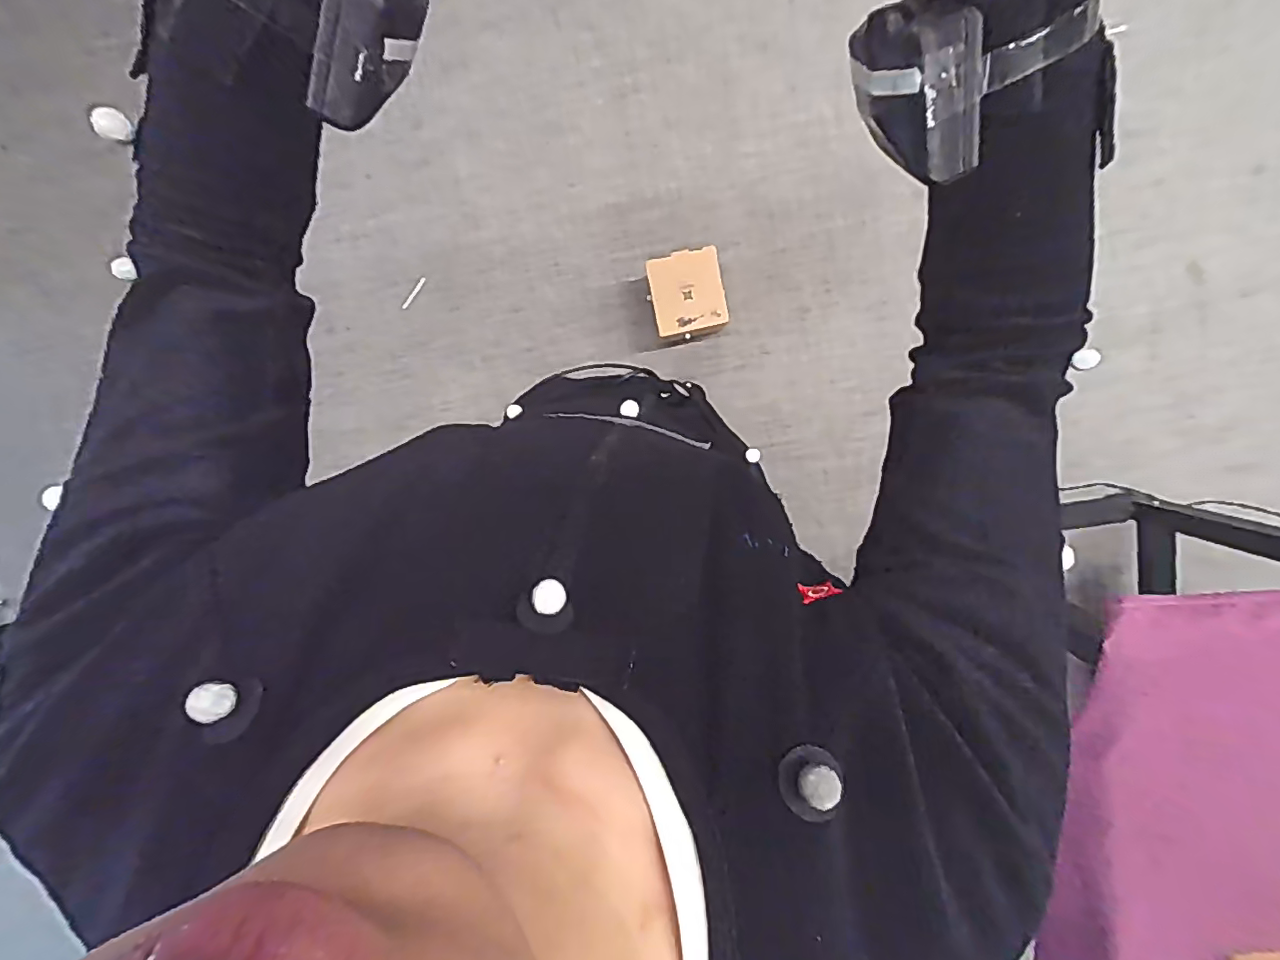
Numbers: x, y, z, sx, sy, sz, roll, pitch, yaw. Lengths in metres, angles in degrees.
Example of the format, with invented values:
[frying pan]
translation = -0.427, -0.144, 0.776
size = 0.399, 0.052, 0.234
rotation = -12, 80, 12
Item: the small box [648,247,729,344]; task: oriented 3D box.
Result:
[small box]
translation = 0.115, -0.440, 1.317
size = 0.168, 0.176, 0.179
rotation = -11, 98, 5
